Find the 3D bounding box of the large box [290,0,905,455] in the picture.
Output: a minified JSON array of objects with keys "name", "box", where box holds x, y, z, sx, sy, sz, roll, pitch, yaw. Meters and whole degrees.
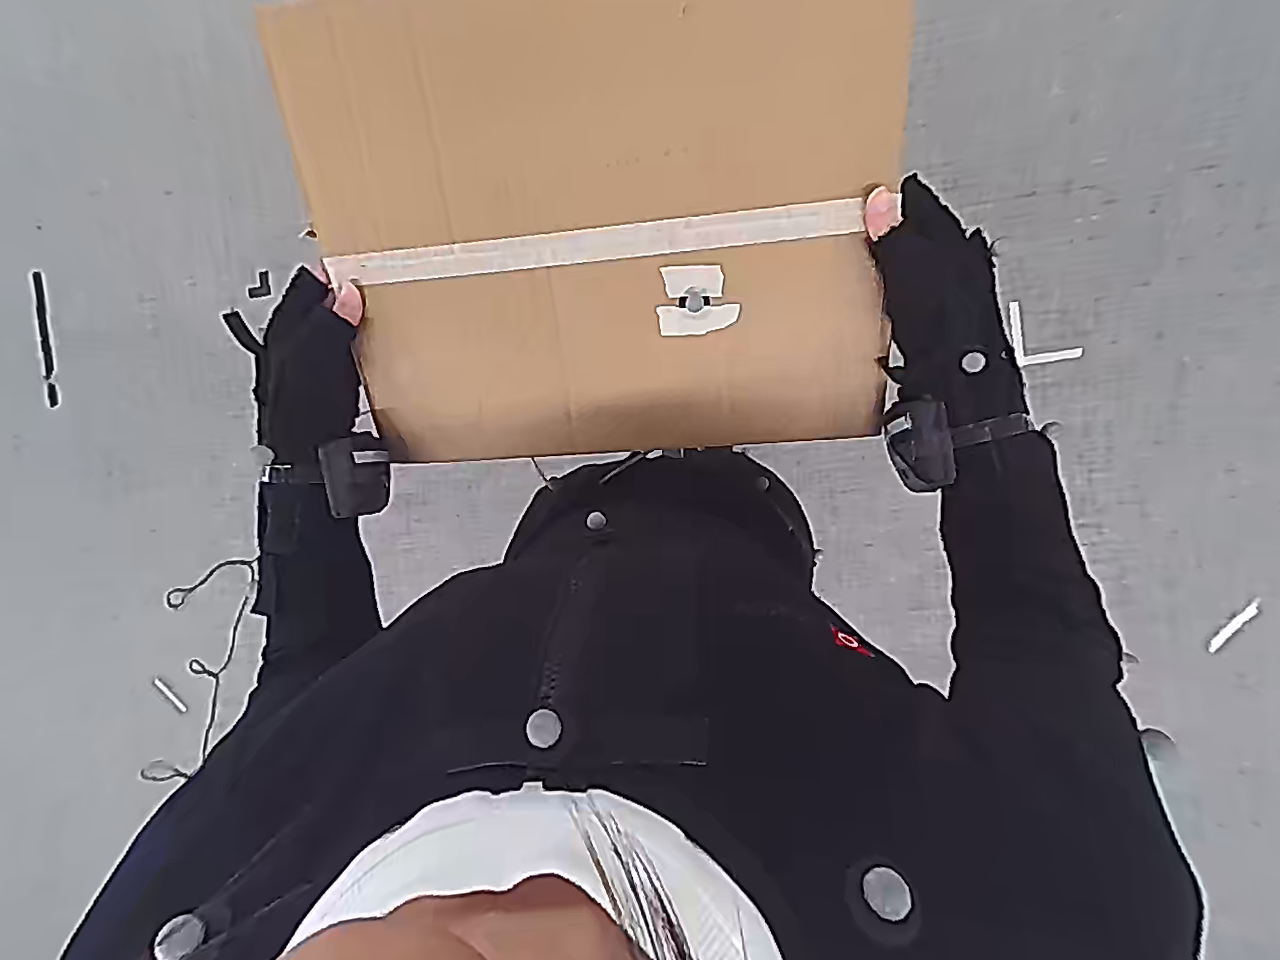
[{"name":"large box","box":[-0.013,-0.234,0.528,0.408,0.320,0.320,-4,113,6]}]
